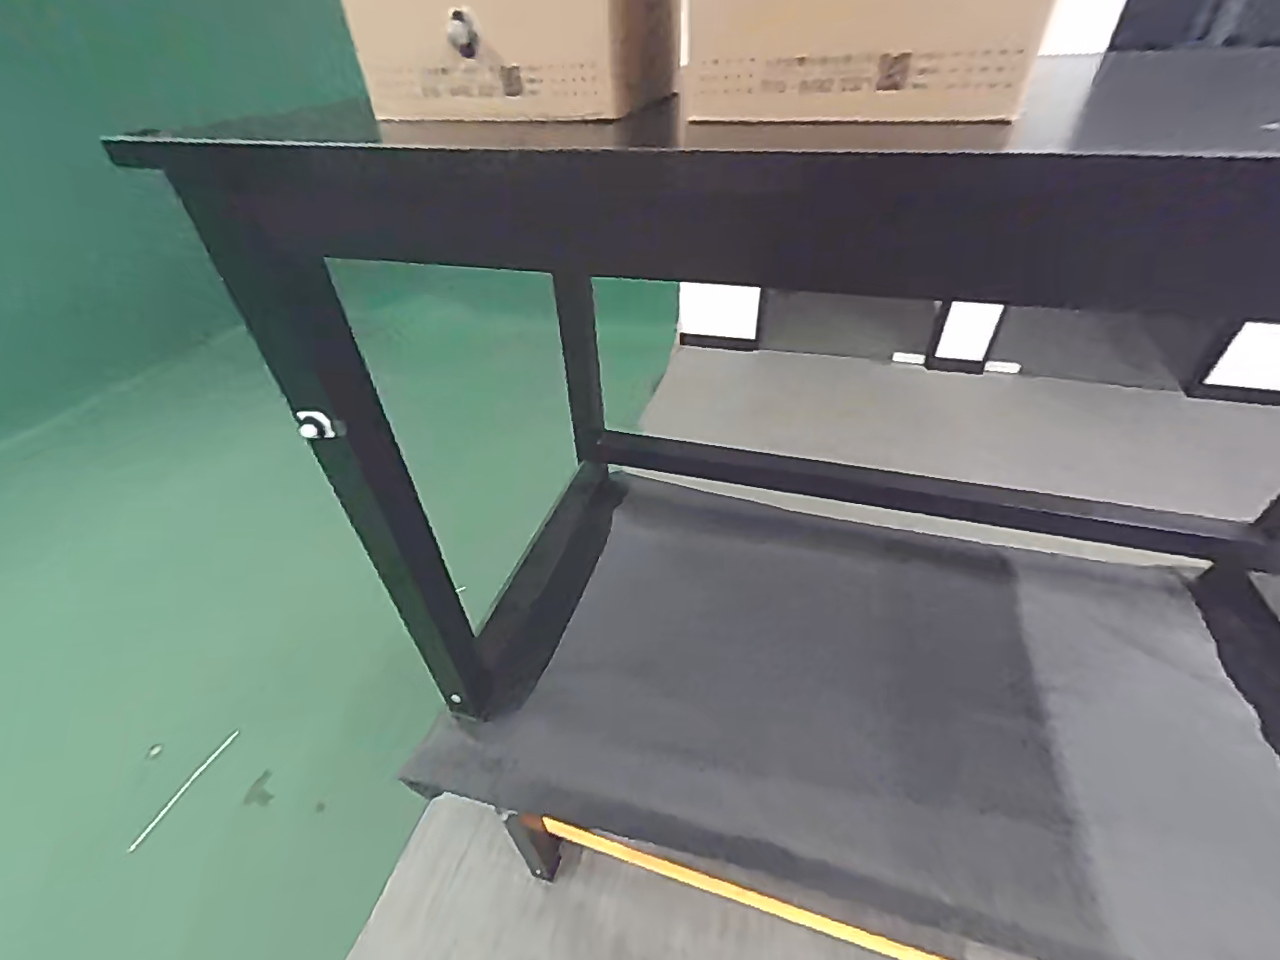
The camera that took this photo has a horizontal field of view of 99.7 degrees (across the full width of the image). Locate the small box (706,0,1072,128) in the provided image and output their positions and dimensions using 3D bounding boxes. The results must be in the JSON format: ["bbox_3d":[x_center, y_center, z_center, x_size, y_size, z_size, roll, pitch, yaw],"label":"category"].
[{"bbox_3d":[0.133,-0.295,0.285,0.168,0.176,0.179,11,41,15],"label":"small box"}]
